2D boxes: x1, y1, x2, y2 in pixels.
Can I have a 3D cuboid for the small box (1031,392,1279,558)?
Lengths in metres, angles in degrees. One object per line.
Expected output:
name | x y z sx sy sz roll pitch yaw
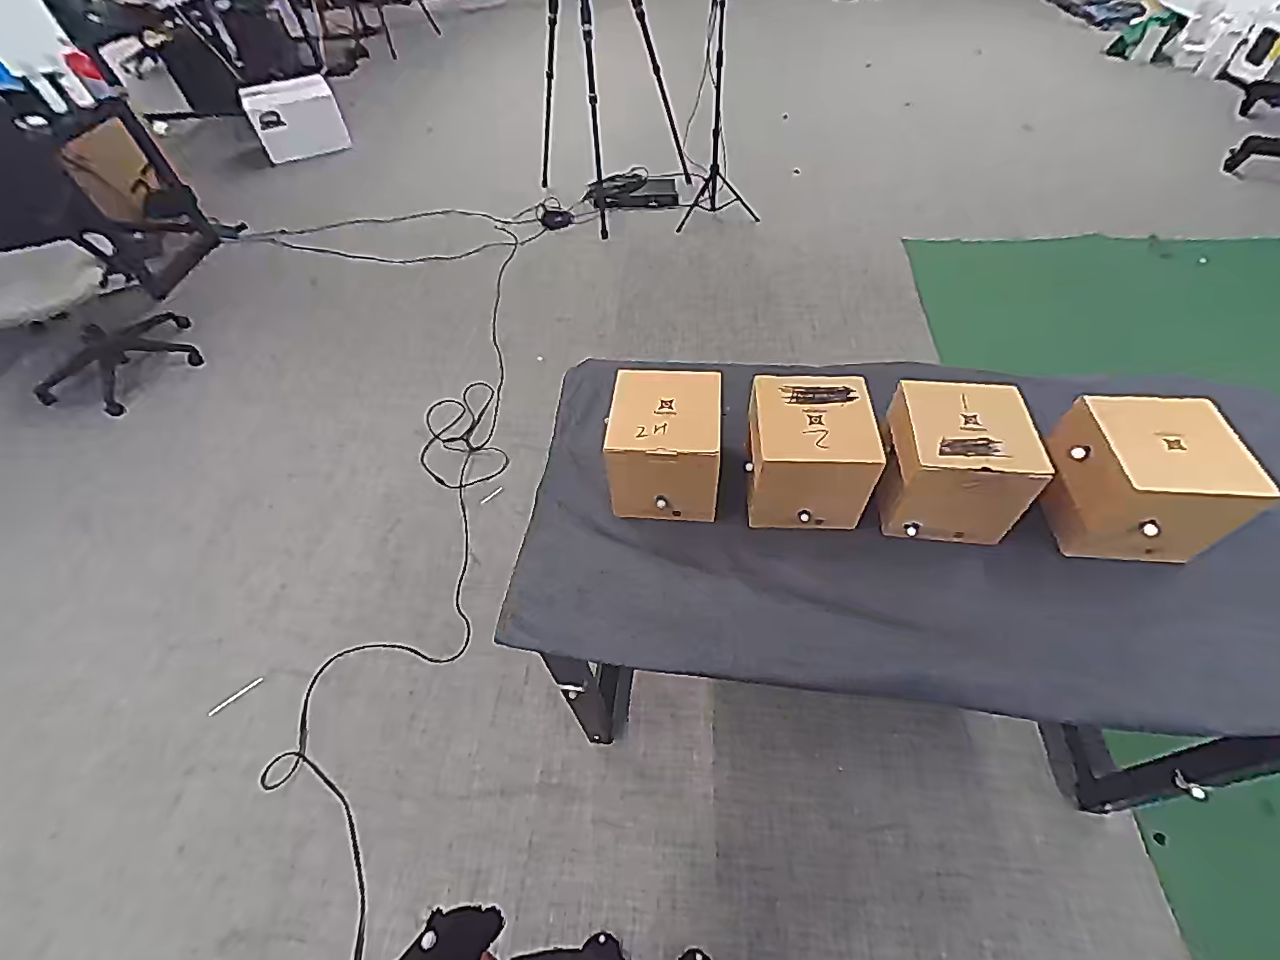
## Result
small box | 0.708 -0.004 0.771 0.168 0.176 0.179 3 52 7

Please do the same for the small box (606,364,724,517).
small box | 0.045 -0.063 0.864 0.168 0.176 0.179 3 52 6
